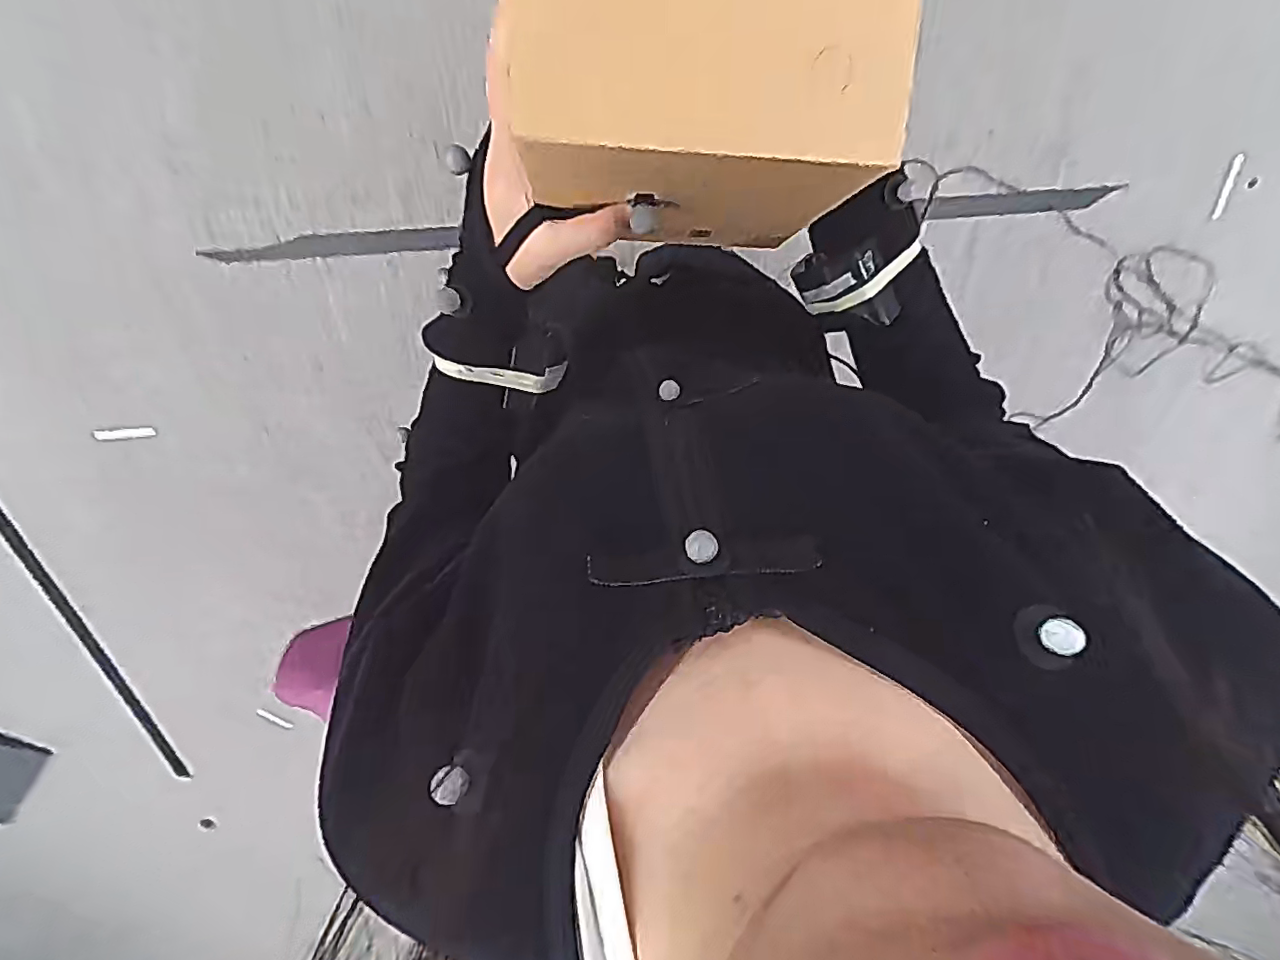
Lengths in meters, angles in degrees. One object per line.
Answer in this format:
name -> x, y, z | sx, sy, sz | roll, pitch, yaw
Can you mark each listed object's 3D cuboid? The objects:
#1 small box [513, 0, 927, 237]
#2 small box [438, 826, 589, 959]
small box -> 0.030, -0.240, 0.283 | 0.168, 0.176, 0.179 | 2, 100, -5
small box -> -0.176, 0.661, 0.814 | 0.179, 0.176, 0.168 | -10, 118, 0
